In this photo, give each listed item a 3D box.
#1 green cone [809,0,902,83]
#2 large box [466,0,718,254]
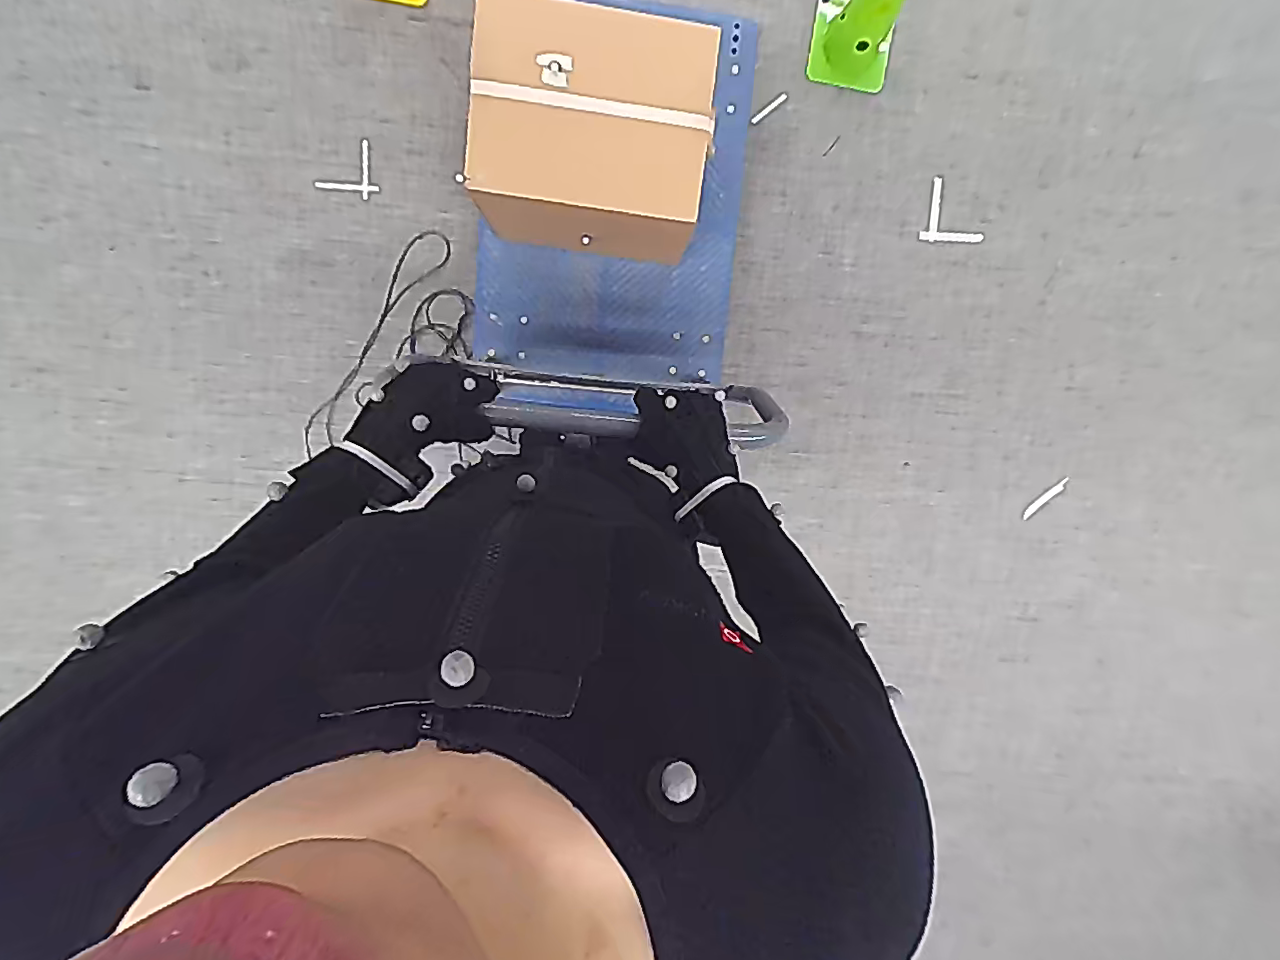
[{"bbox_3d":[0.541,-1.081,1.171,0.202,0.368,0.200,7,98,-6],"label":"green cone"},{"bbox_3d":[-0.087,-0.655,1.052,0.408,0.320,0.320,7,98,-4],"label":"large box"}]
